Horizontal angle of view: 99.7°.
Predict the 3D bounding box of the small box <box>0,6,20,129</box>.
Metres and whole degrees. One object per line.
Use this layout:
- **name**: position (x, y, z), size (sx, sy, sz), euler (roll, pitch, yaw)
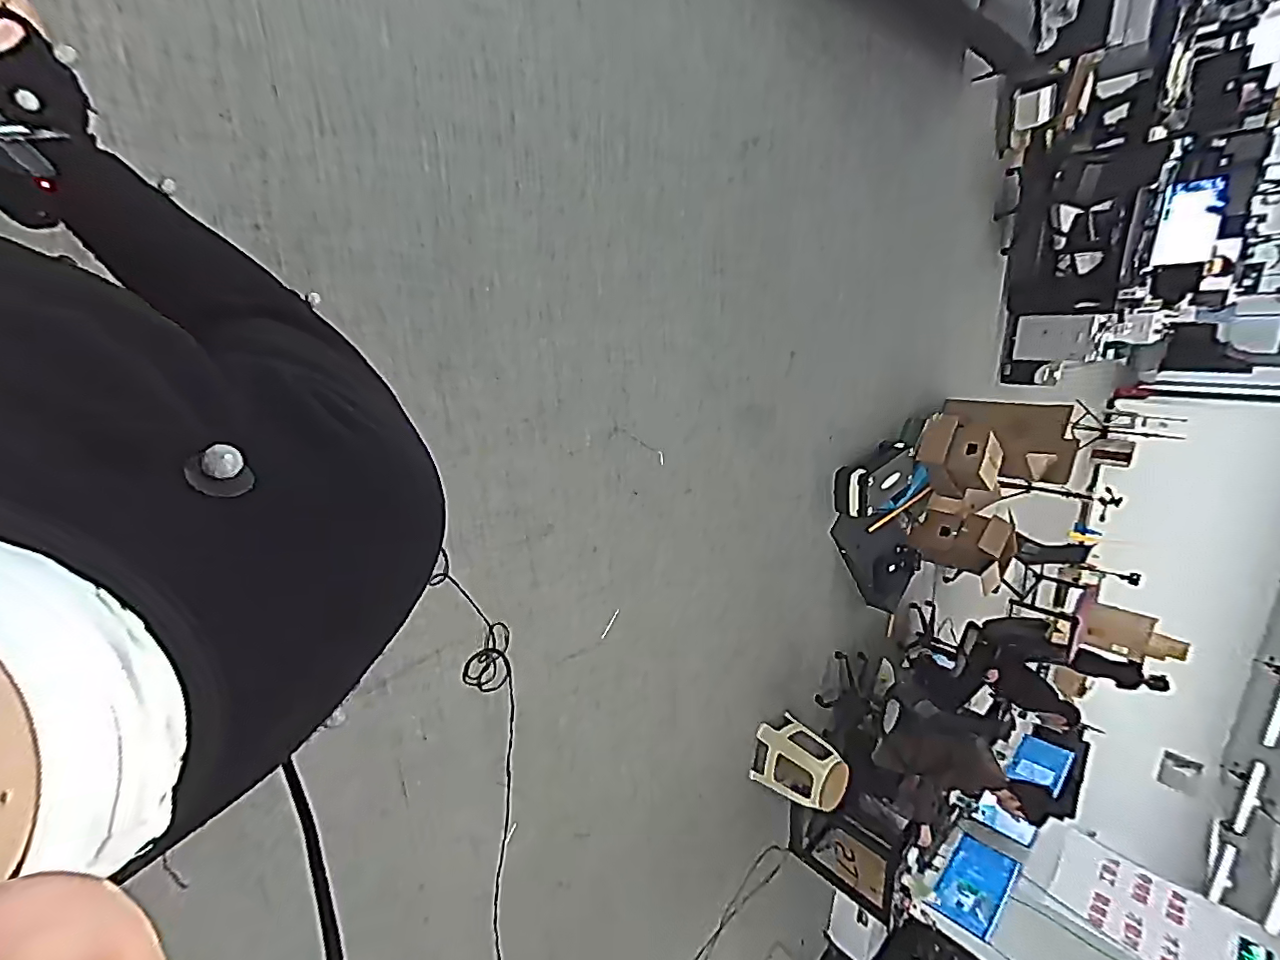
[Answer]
- **small box**: position (-0.629, -0.401, 0.420), size (0.179, 0.176, 0.168), euler (-12, 106, -43)
